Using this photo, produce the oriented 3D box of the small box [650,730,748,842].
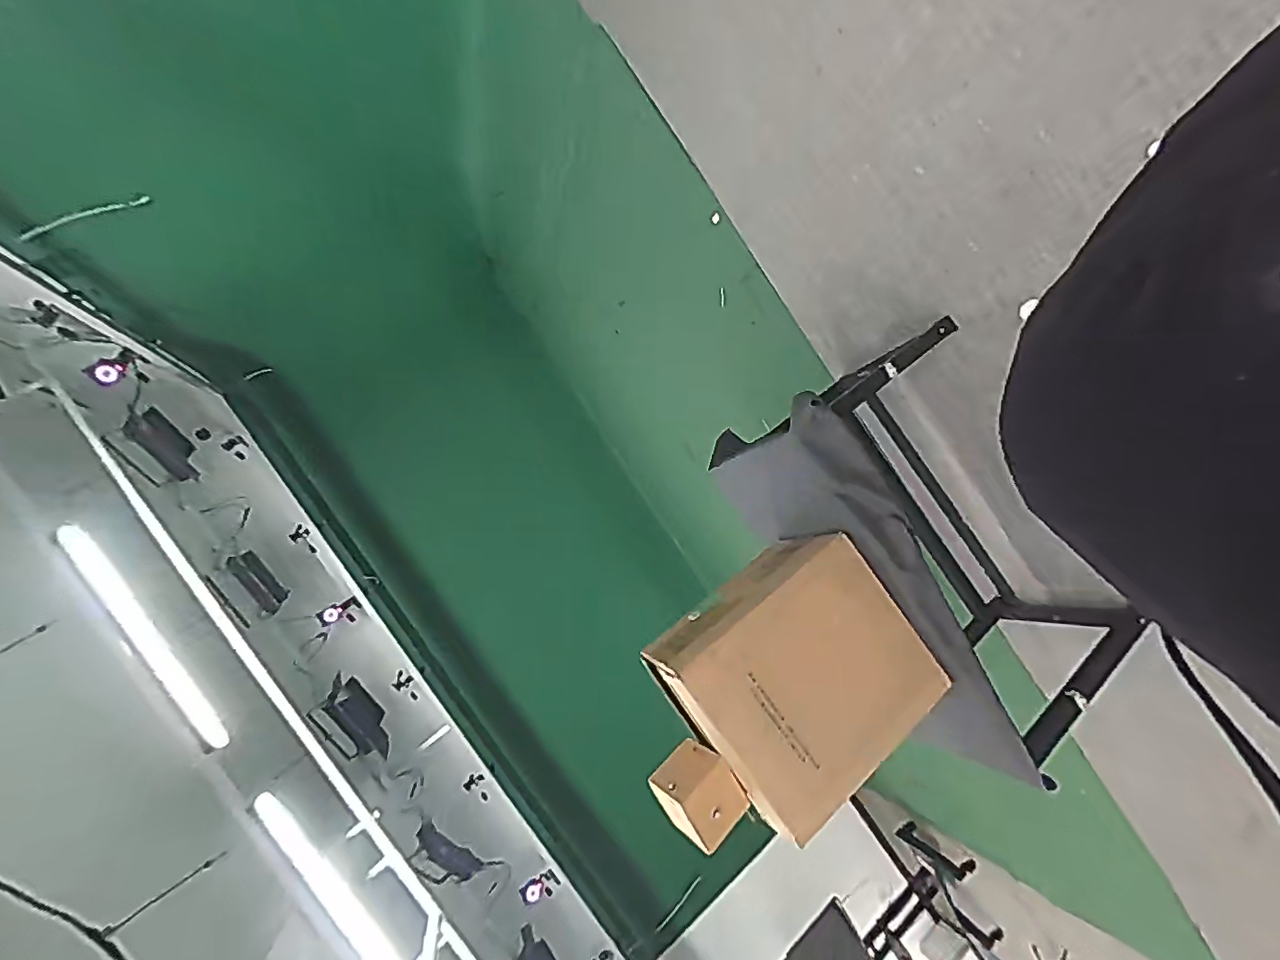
[{"bbox_3d":[0.166,0.836,1.495,0.168,0.176,0.179,-9,114,59],"label":"small box"}]
